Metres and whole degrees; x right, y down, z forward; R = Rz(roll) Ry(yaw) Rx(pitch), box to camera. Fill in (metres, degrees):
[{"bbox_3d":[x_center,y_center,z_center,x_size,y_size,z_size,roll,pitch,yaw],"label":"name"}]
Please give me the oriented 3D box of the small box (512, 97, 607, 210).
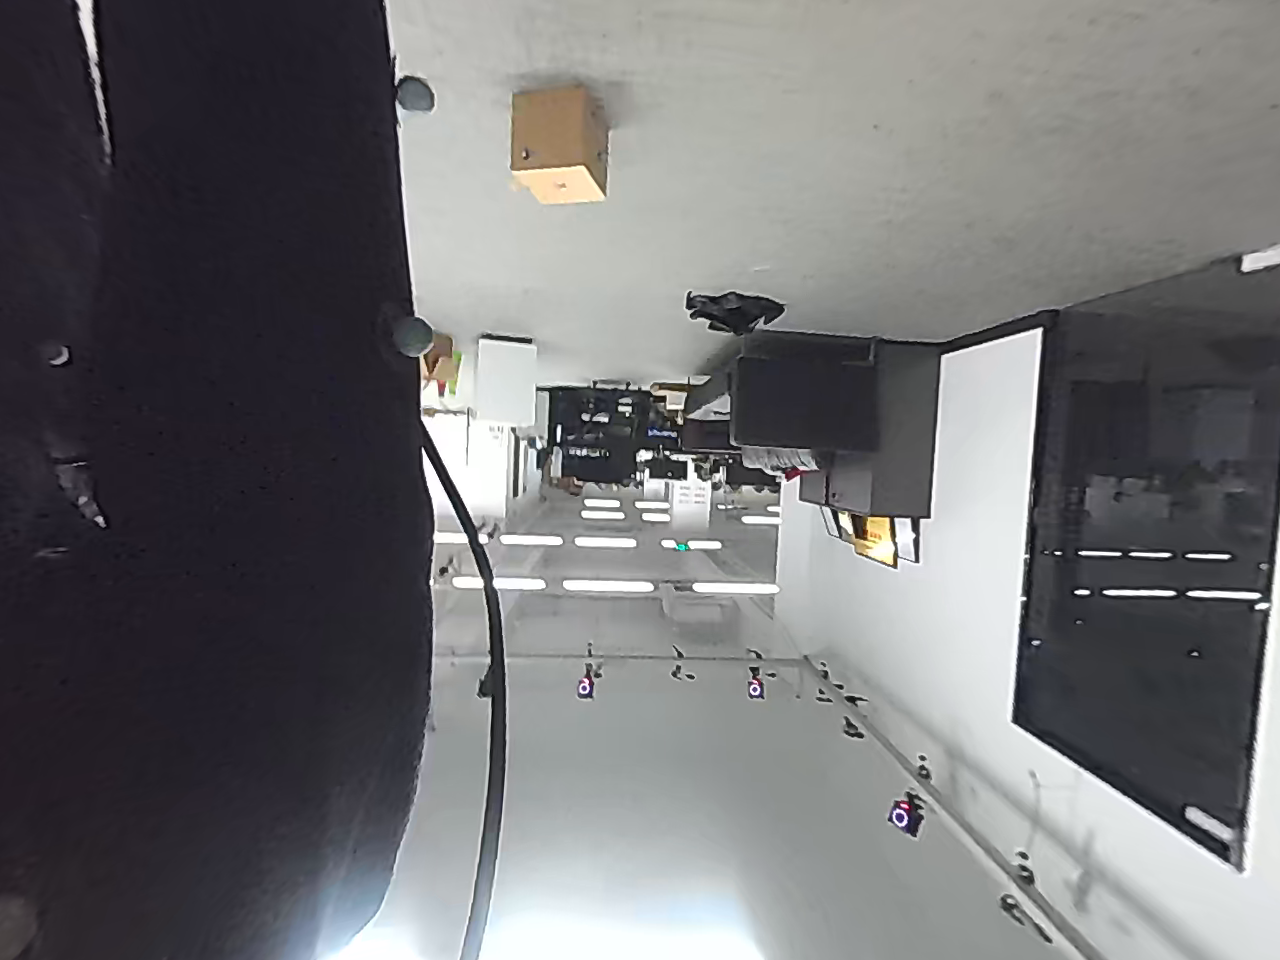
[{"bbox_3d":[-0.182,-0.751,1.250,0.179,0.176,0.168,3,-177,15],"label":"small box"}]
